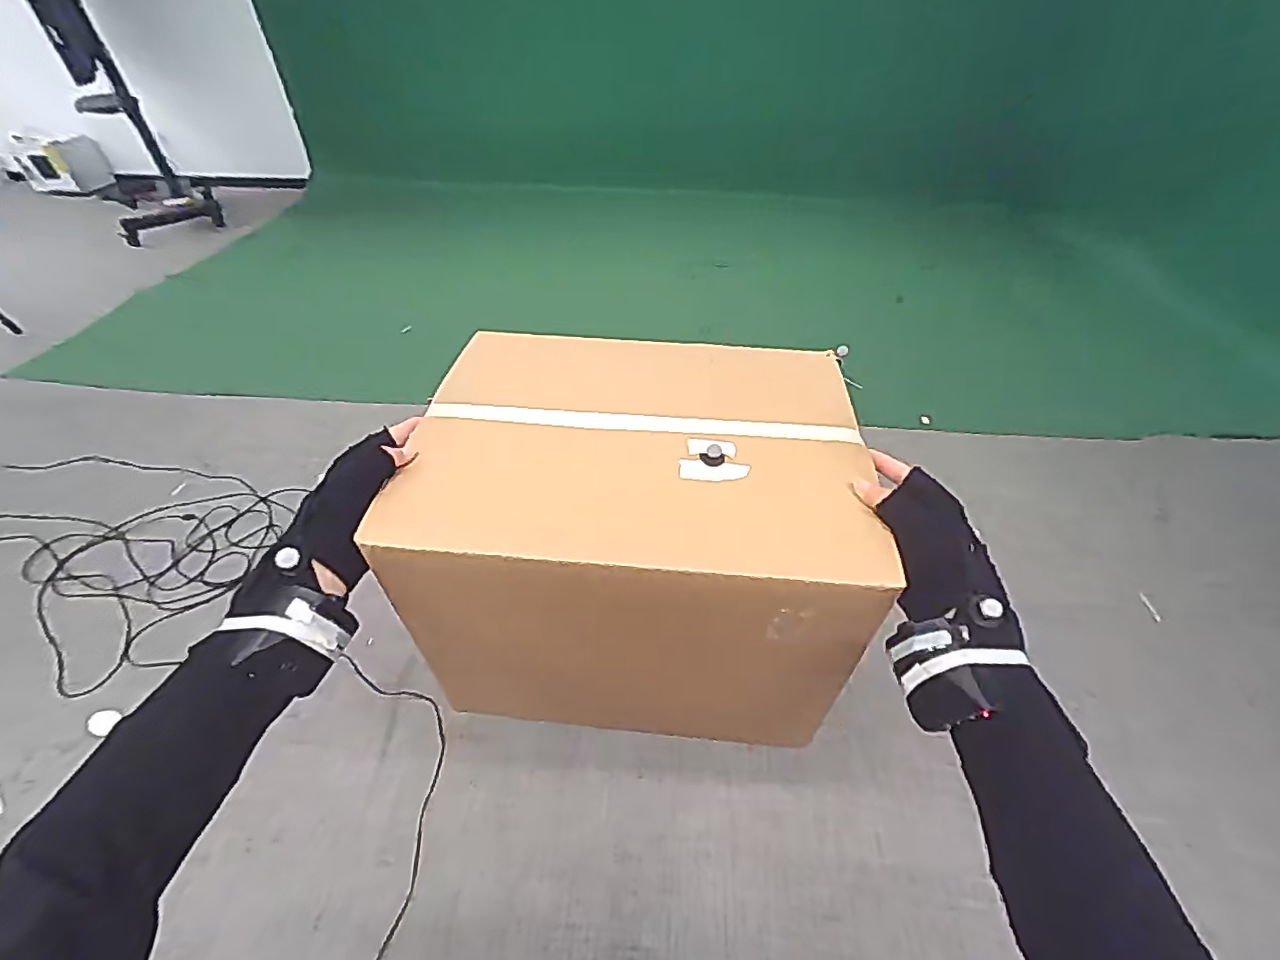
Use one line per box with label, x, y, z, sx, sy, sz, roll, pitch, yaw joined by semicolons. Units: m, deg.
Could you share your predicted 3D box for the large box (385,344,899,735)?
large box;0.004;0.065;0.619;0.408;0.320;0.320;5;45;3
